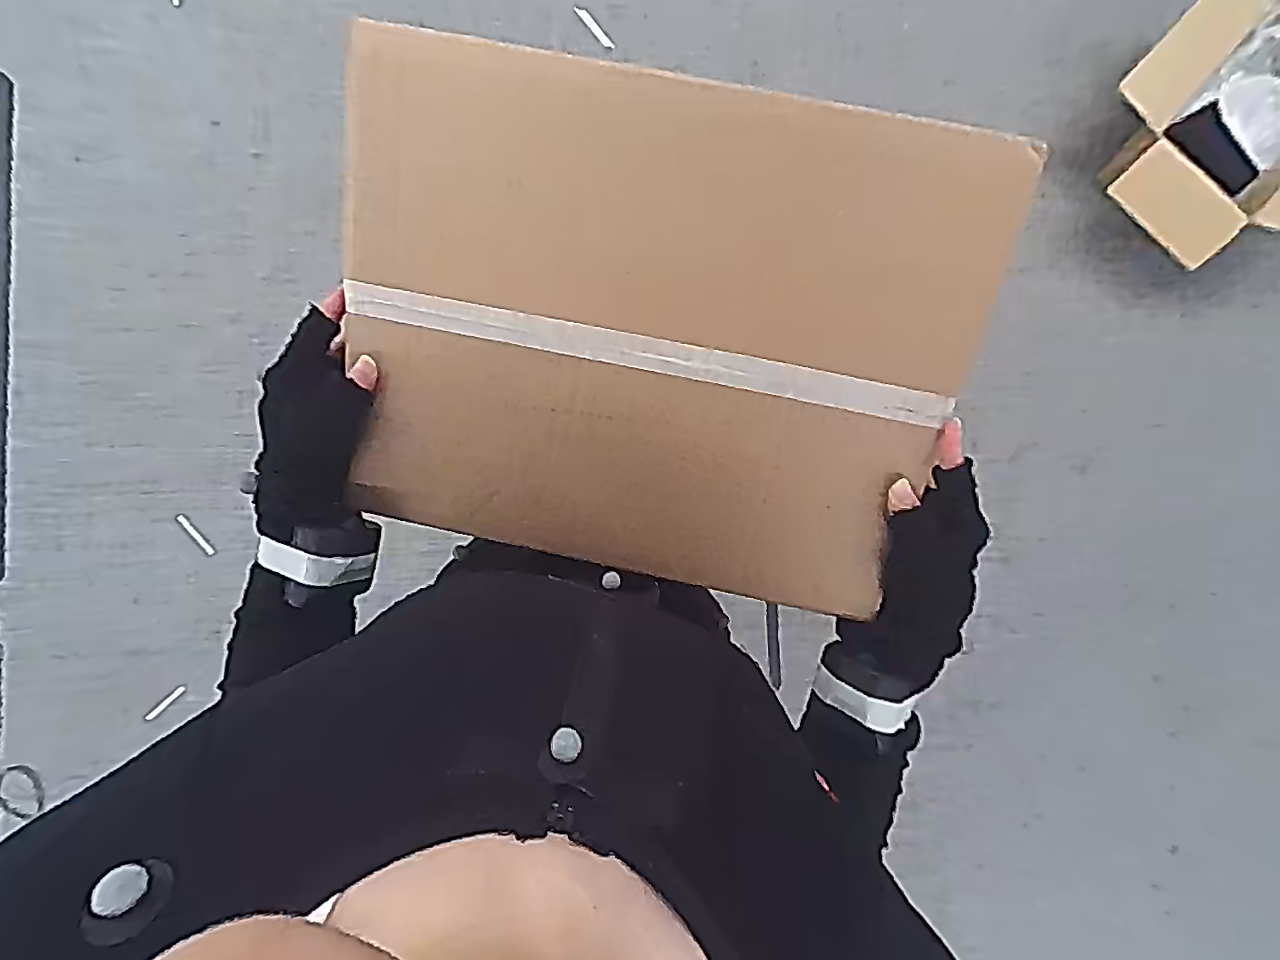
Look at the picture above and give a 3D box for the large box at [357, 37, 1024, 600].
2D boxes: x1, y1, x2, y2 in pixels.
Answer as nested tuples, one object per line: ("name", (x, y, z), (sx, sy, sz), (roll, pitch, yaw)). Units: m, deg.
("large box", (0.015, -0.132, 0.504), (0.408, 0.320, 0.320), (12, 109, 2))
